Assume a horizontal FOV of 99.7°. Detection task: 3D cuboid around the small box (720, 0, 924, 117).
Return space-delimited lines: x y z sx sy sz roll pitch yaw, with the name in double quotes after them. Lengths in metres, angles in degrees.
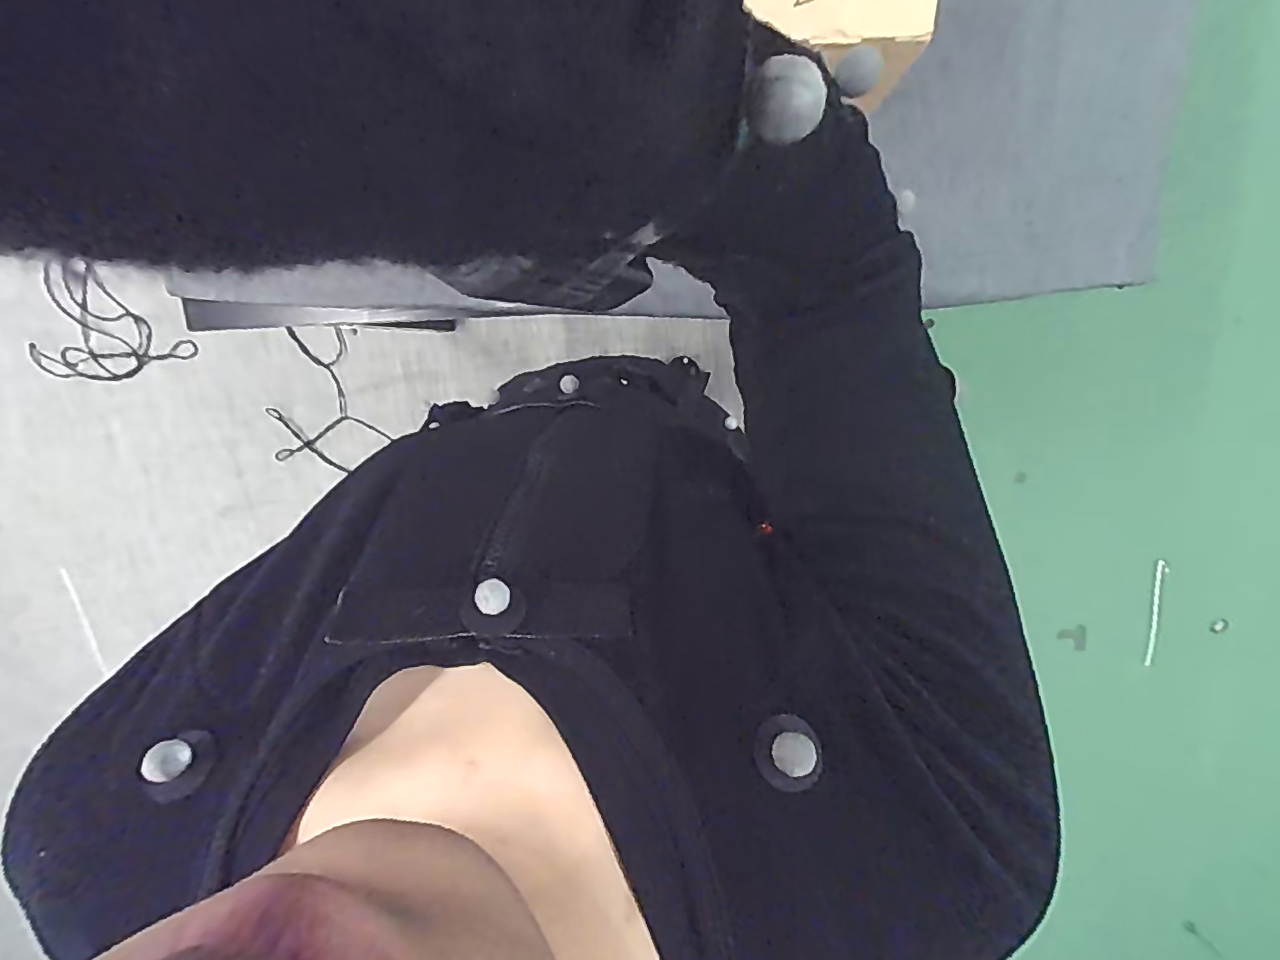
0.171 -0.488 0.527 0.168 0.176 0.179 5 107 3 "small box"
